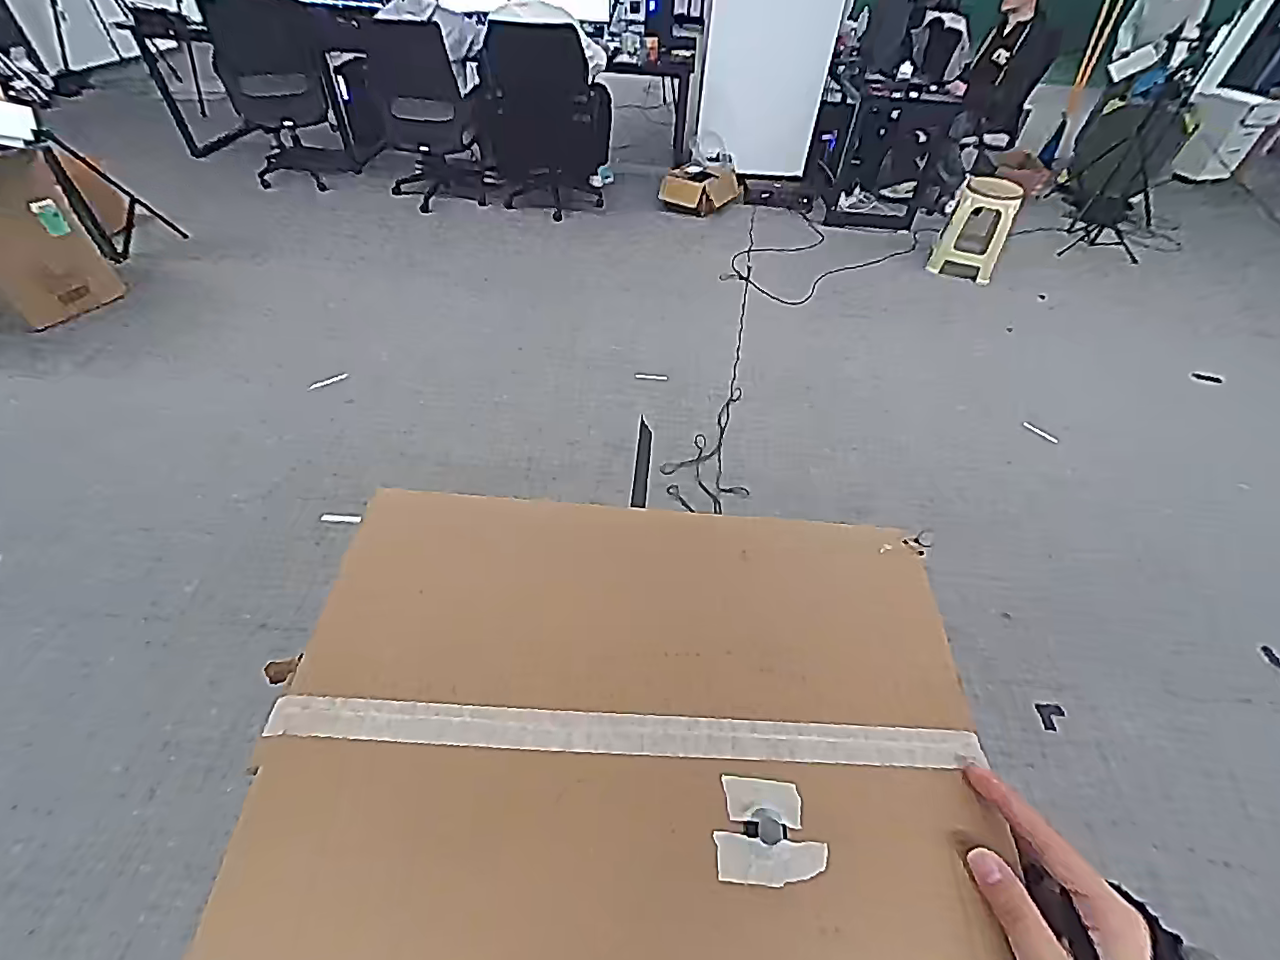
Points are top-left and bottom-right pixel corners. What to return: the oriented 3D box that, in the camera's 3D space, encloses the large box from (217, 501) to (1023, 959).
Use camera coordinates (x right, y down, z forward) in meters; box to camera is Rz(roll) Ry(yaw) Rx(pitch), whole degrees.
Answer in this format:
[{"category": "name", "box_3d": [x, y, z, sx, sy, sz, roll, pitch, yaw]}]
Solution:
[{"category": "large box", "box_3d": [-0.012, 0.239, 0.446, 0.408, 0.320, 0.320, 5, 54, -3]}]
